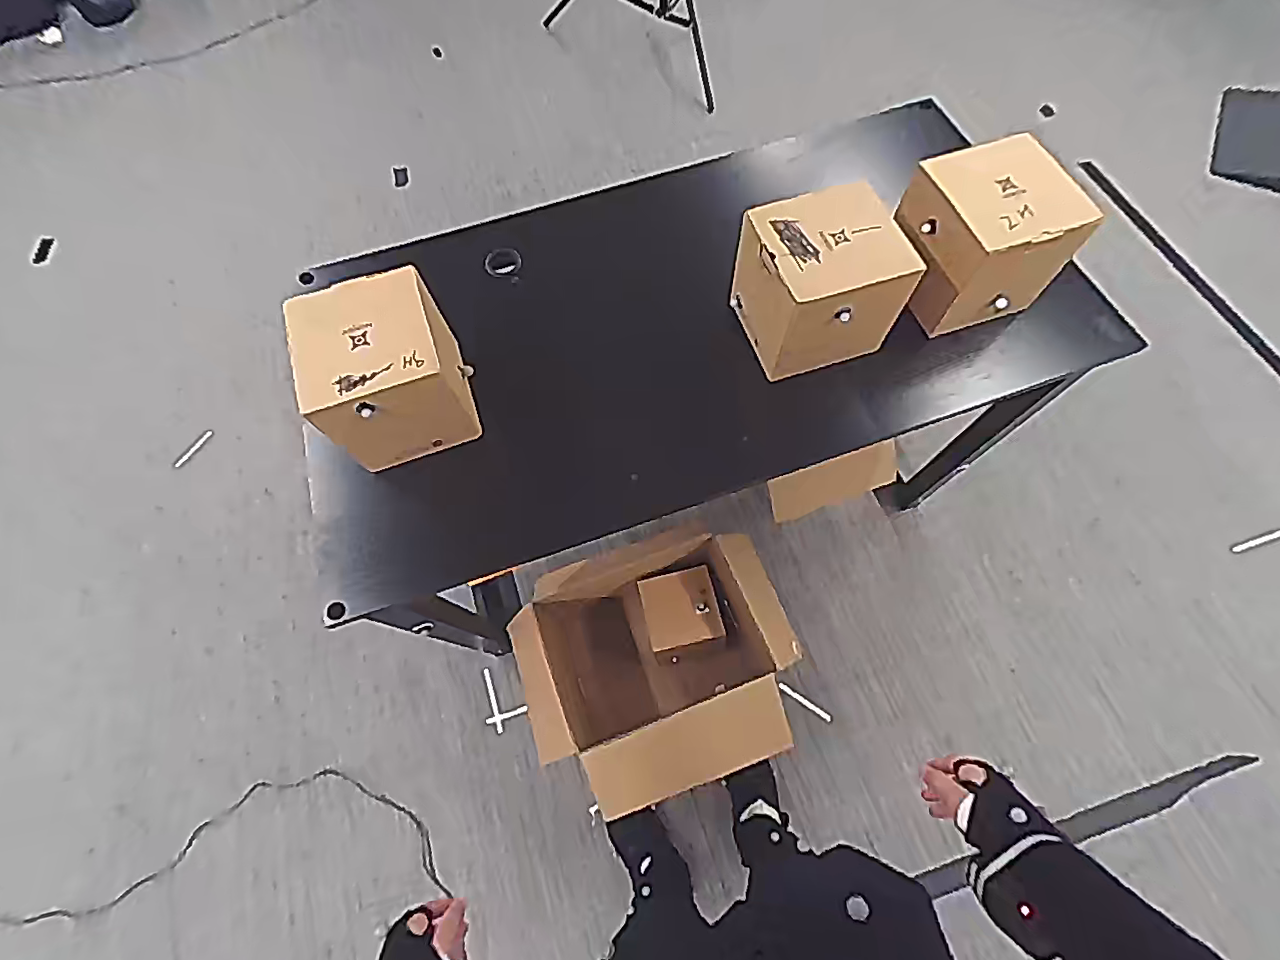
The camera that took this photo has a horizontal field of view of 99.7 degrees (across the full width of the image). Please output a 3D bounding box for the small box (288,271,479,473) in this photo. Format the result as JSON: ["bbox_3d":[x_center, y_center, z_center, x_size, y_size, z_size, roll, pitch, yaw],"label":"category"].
[{"bbox_3d":[-0.332,-0.137,0.721,0.168,0.176,0.179,-19,67,-6],"label":"small box"}]

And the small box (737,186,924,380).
[{"bbox_3d":[0.244,-0.263,0.752,0.179,0.176,0.168,-16,68,-5],"label":"small box"}]

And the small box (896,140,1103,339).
[{"bbox_3d":[0.478,-0.335,0.771,0.168,0.176,0.179,-17,67,-3],"label":"small box"}]
